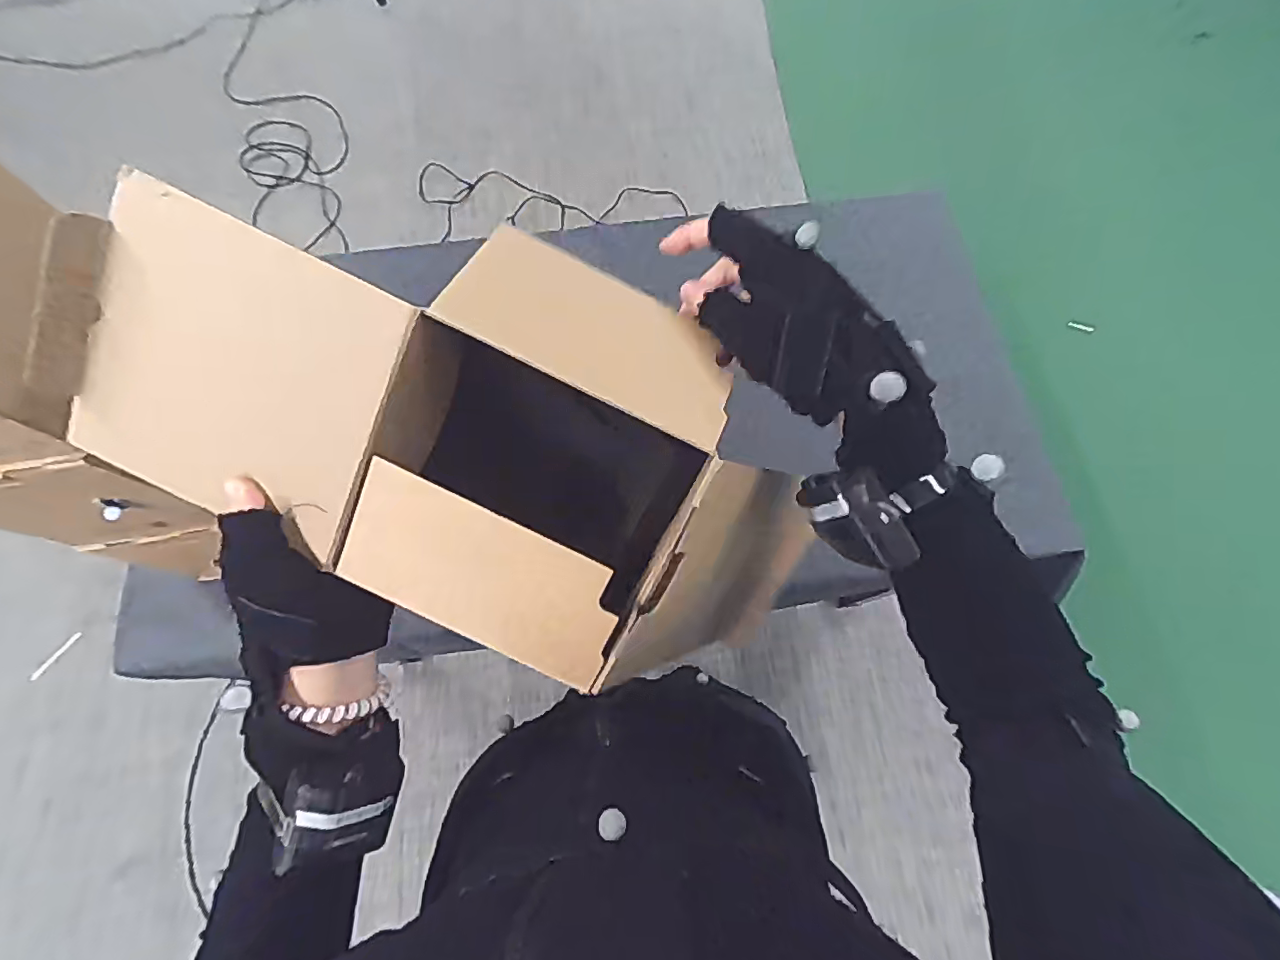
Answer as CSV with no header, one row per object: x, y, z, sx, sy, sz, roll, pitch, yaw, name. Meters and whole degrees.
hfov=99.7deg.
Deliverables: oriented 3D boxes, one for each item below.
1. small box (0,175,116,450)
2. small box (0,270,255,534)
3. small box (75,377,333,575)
-0.491,-0.118,0.338,0.168,0.176,0.179,-9,70,-4,small box
-0.489,-0.056,0.490,0.168,0.176,0.179,-8,70,-3,small box
-0.490,0.003,0.641,0.168,0.176,0.179,-9,71,-3,small box
